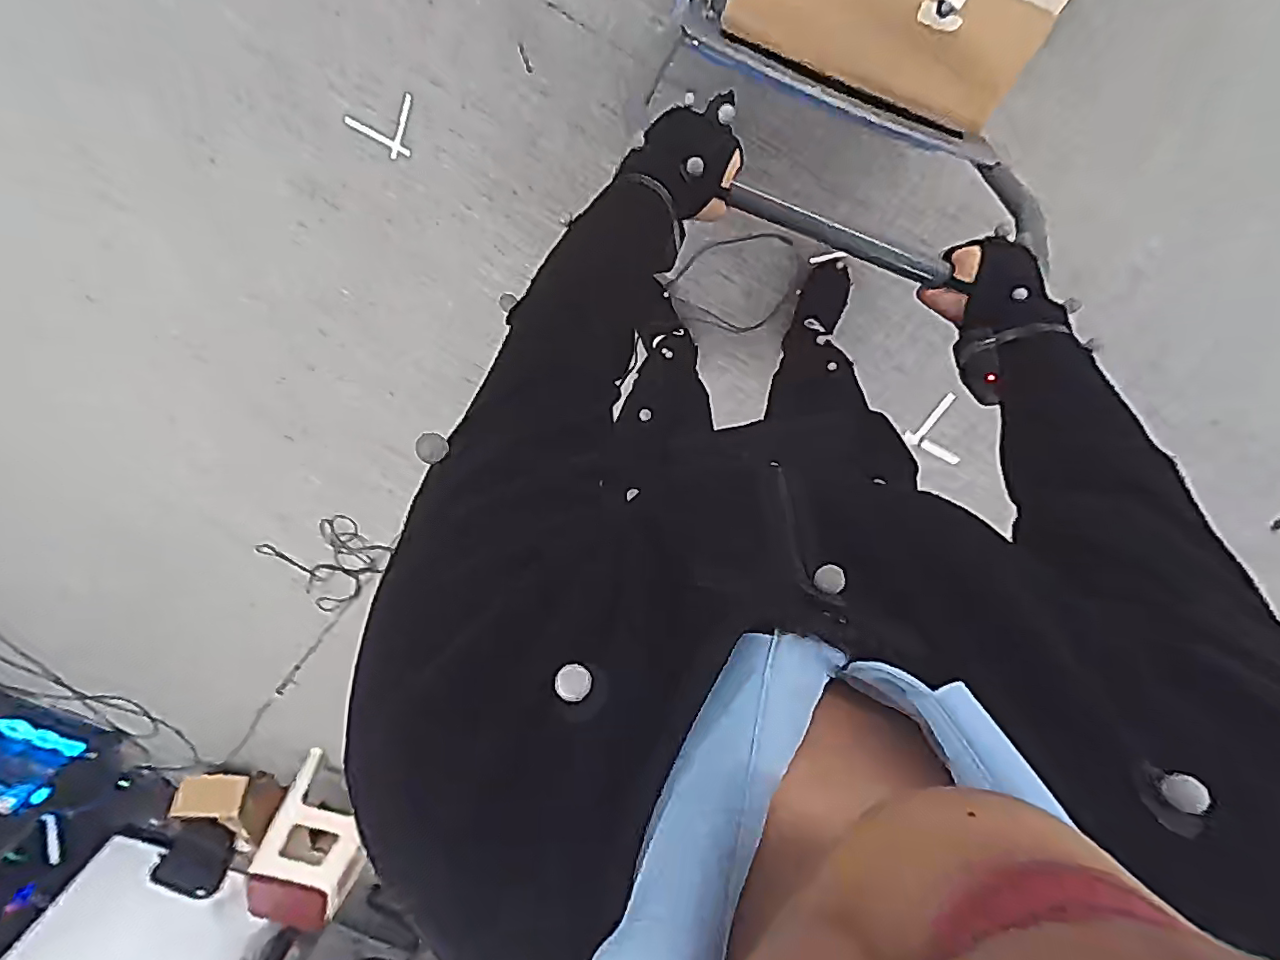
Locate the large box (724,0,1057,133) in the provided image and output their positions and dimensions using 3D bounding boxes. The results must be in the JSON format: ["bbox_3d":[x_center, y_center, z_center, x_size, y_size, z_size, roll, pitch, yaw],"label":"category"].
[{"bbox_3d":[0.366,-0.771,0.786,0.408,0.320,0.320,19,134,-6],"label":"large box"}]
